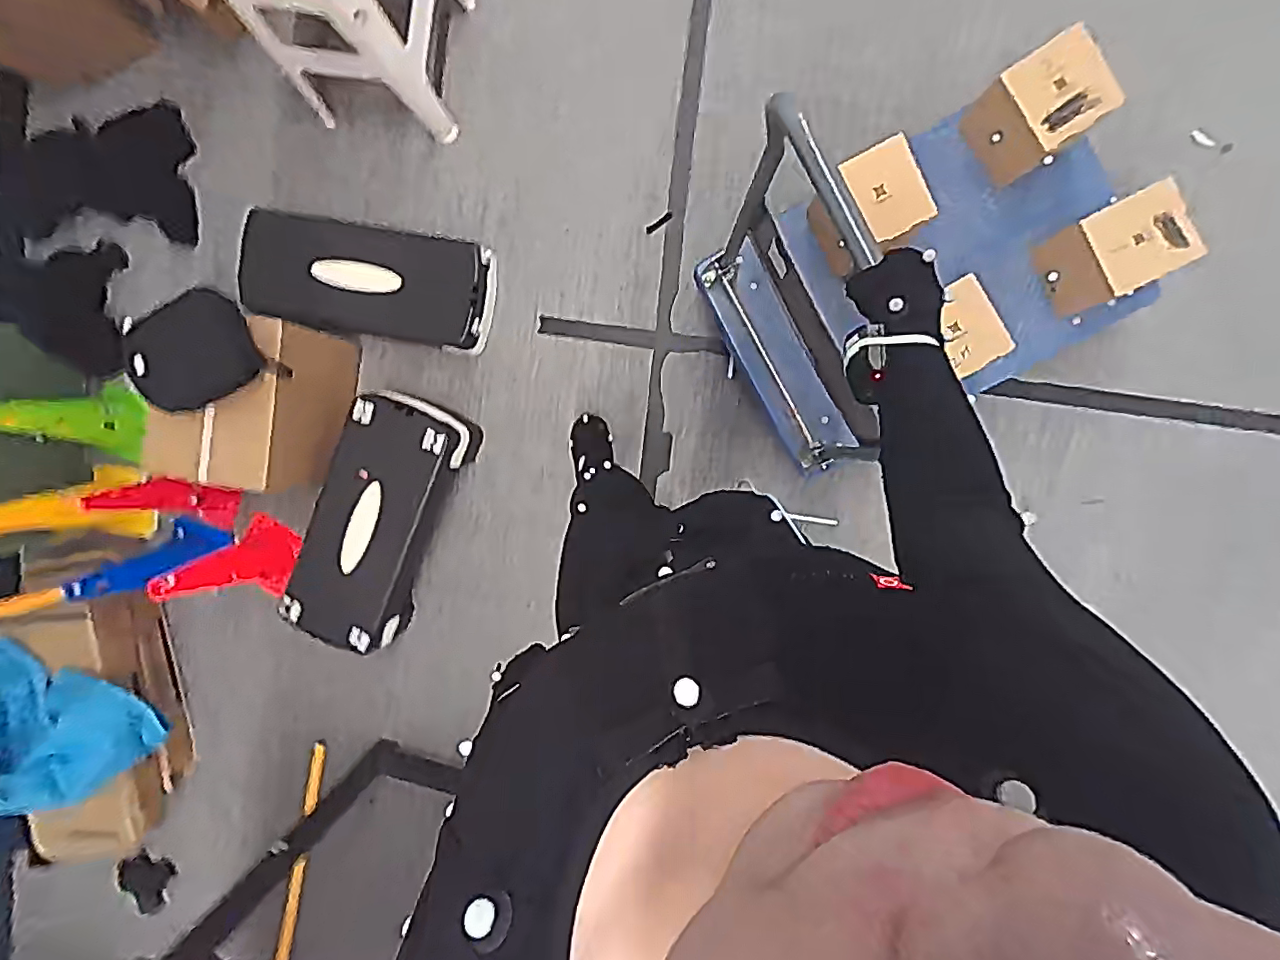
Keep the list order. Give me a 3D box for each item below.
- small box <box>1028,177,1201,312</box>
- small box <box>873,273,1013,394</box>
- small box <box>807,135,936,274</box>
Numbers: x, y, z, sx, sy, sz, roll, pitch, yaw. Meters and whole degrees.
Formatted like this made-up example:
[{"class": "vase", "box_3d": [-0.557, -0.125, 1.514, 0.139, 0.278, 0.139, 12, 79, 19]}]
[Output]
[{"class": "small box", "box_3d": [0.959, -0.470, 1.110, 0.179, 0.176, 0.168, -27, 92, 7]}, {"class": "small box", "box_3d": [0.629, -0.300, 1.149, 0.168, 0.176, 0.179, -31, 91, 6]}, {"class": "small box", "box_3d": [0.476, -0.569, 1.142, 0.168, 0.176, 0.179, -26, 93, 6]}]
